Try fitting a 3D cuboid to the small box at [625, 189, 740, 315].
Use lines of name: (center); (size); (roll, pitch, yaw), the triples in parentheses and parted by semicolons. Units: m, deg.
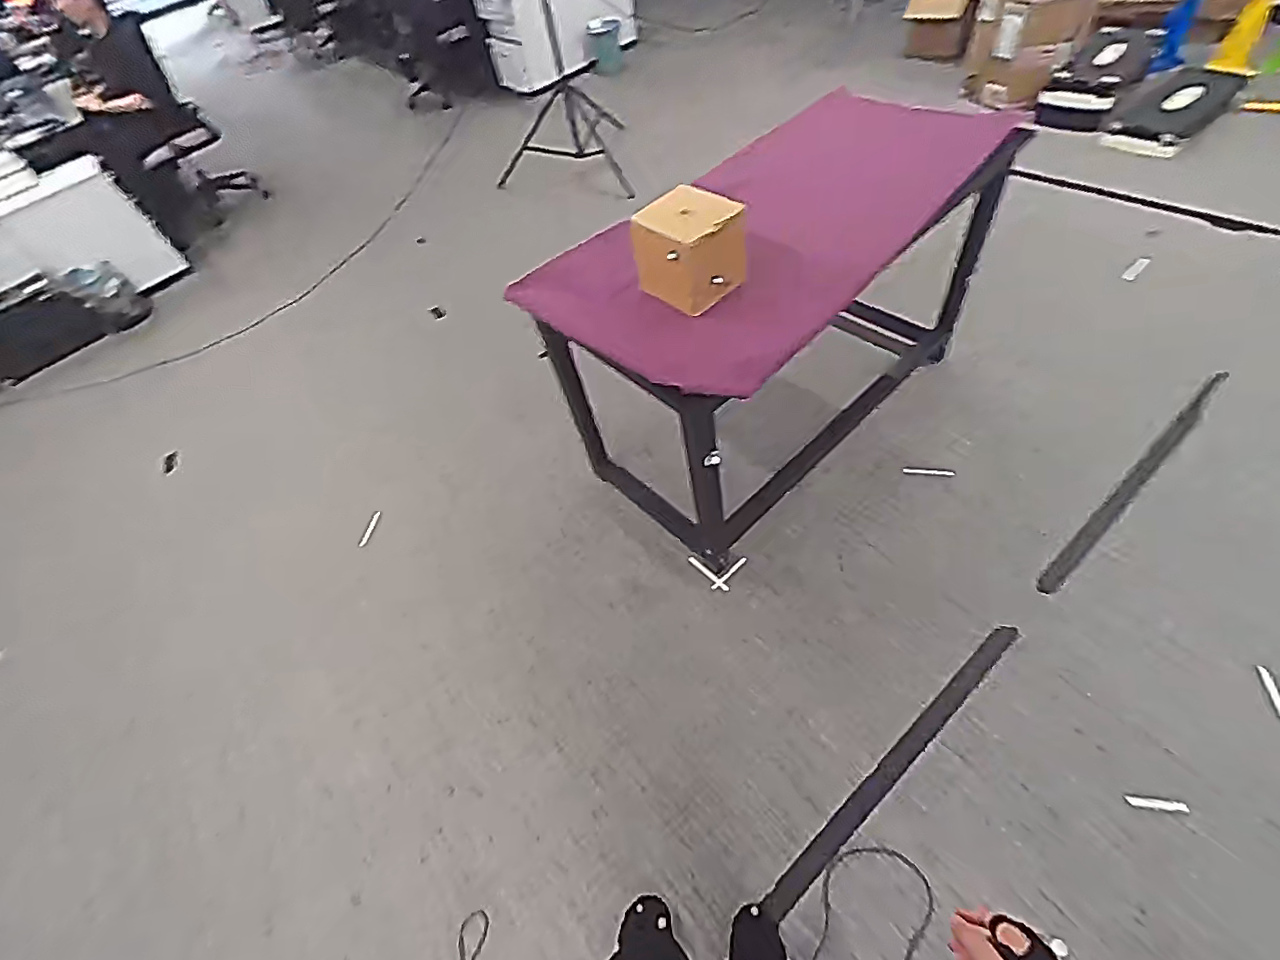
small box: (0.093, -0.481, 1.147); (0.168, 0.176, 0.179); (-41, 58, -19)
